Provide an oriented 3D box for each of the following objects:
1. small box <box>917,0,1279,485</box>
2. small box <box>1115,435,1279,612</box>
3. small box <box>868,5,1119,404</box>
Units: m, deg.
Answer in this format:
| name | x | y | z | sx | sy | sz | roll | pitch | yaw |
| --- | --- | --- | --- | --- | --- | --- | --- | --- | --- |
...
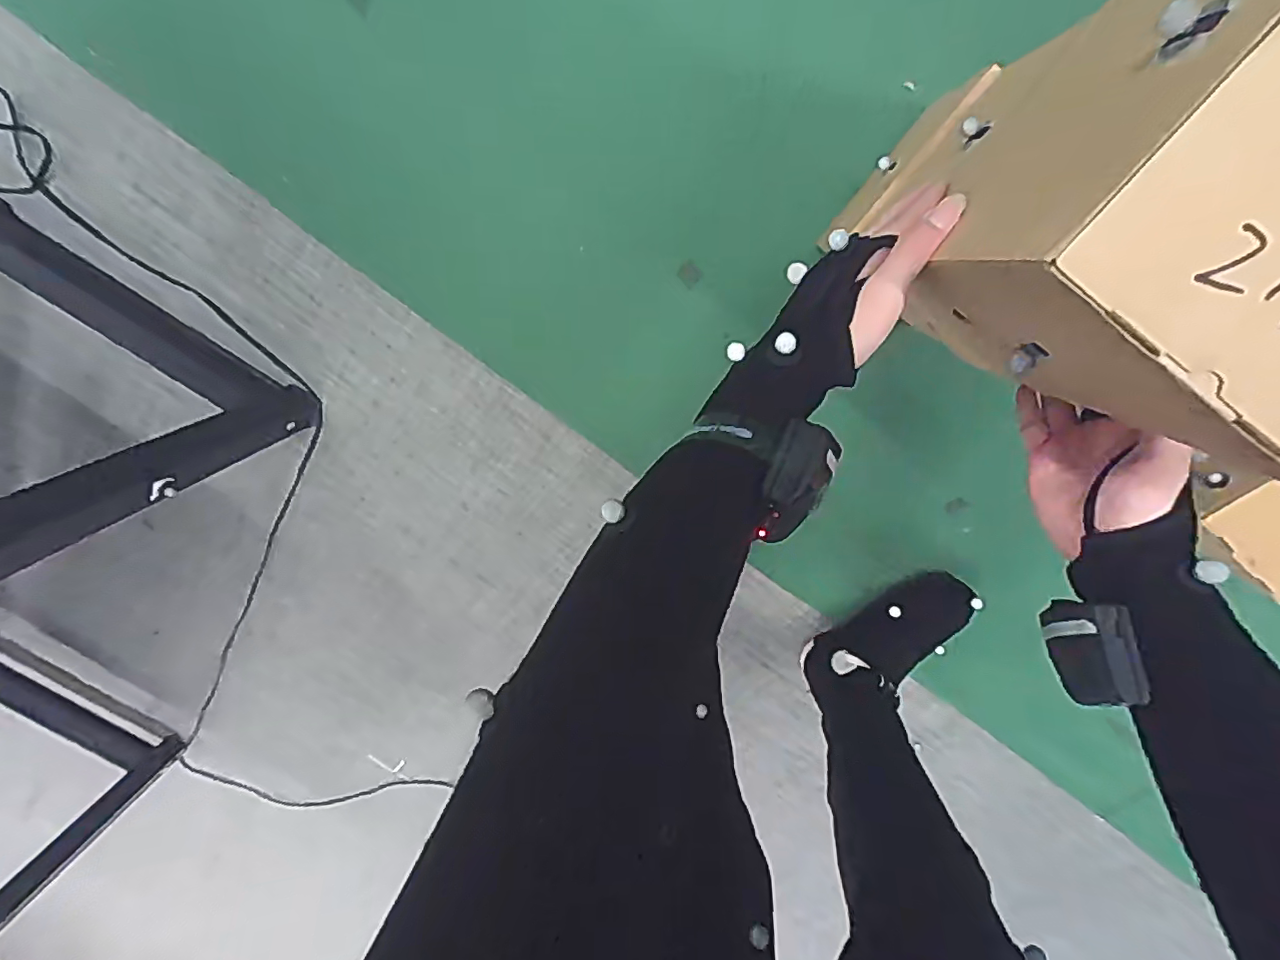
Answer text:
| name | x | y | z | sx | sy | sz | roll | pitch | yaw |
| --- | --- | --- | --- | --- | --- | --- | --- | --- | --- |
| small box | 0.273 | -0.128 | 0.252 | 0.168 | 0.176 | 0.179 | 34 | 111 | -8 |
| small box | 0.714 | 0.008 | 0.614 | 0.168 | 0.176 | 0.179 | 40 | 117 | -10 |
| small box | 0.298 | -0.188 | 0.404 | 0.168 | 0.176 | 0.179 | 37 | 110 | -9 |
